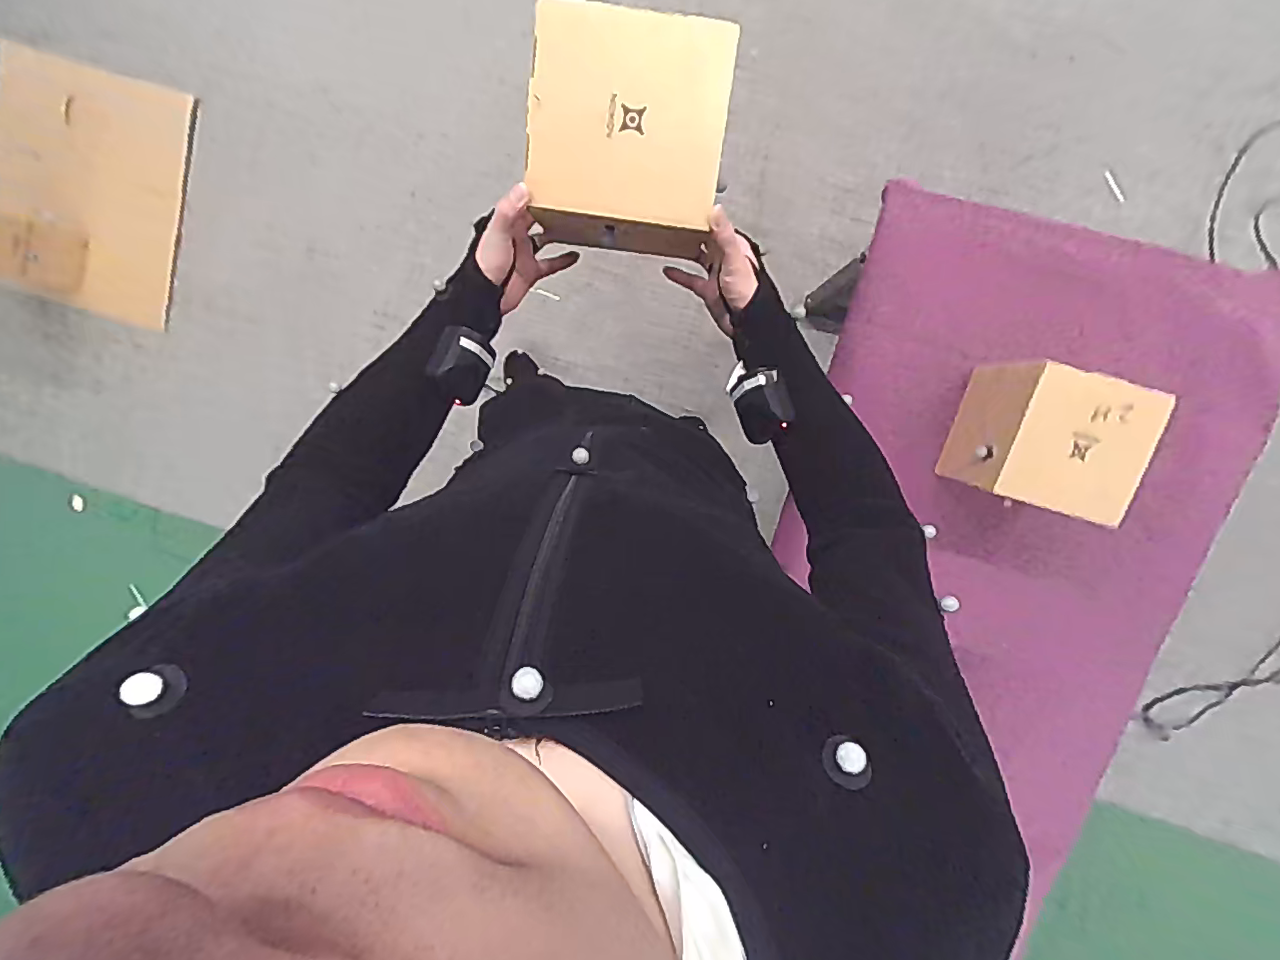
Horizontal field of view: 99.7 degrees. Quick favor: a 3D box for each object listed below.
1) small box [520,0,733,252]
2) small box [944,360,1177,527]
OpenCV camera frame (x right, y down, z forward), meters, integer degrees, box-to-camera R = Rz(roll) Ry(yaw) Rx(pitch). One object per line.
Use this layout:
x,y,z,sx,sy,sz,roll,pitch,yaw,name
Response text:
-0.013,-0.340,0.555,0.179,0.176,0.168,7,104,1,small box
0.561,-0.057,0.756,0.168,0.176,0.179,17,101,2,small box
